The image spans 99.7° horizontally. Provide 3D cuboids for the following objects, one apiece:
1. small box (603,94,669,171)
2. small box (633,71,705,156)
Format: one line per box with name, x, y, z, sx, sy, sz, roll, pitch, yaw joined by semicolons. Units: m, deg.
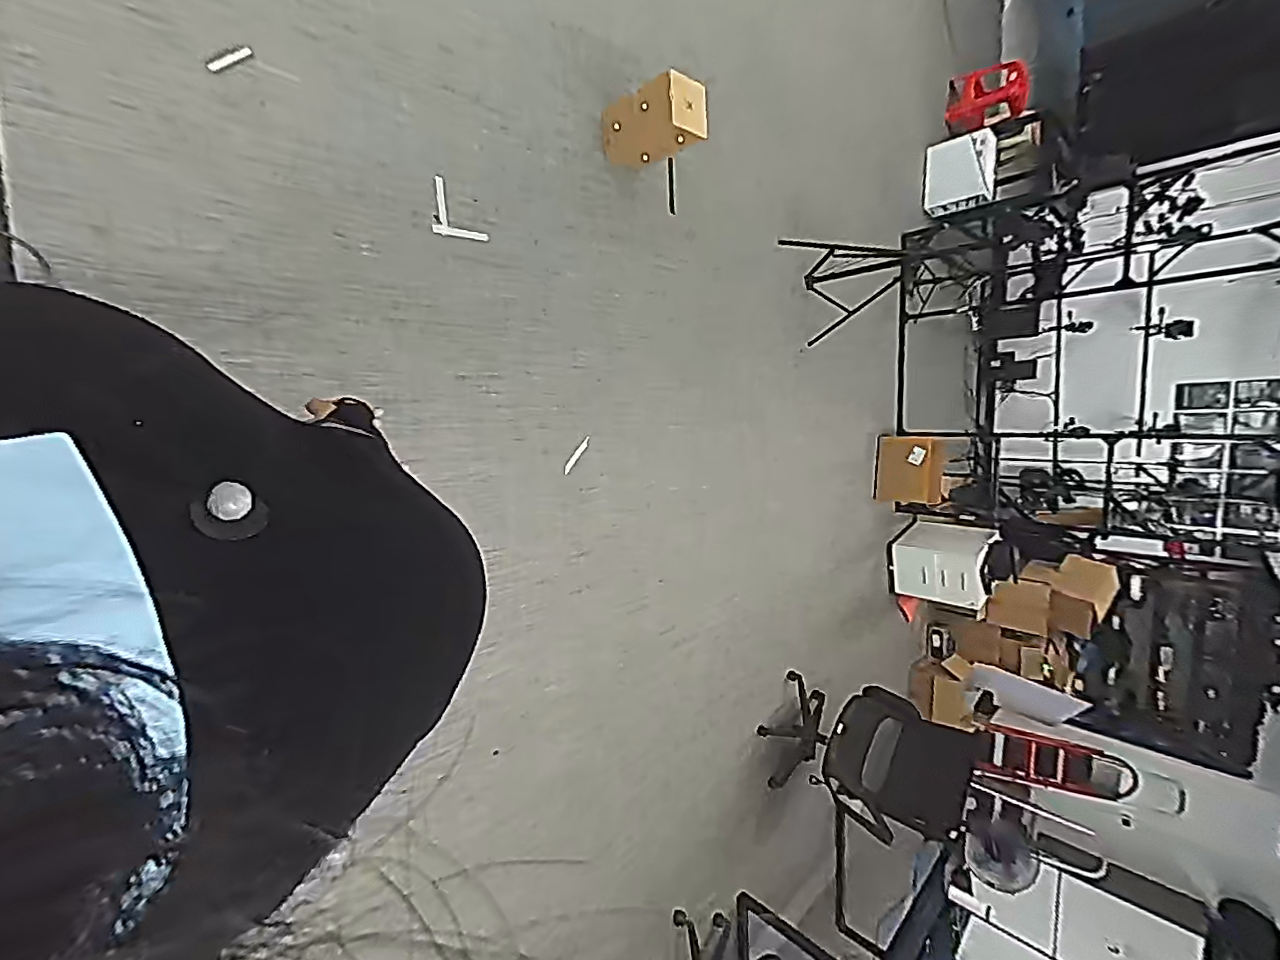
small box;-0.018;-1.229;1.930;0.179;0.176;0.168;-14;104;-44
small box;0.097;-1.219;1.815;0.179;0.176;0.168;-12;102;-43
